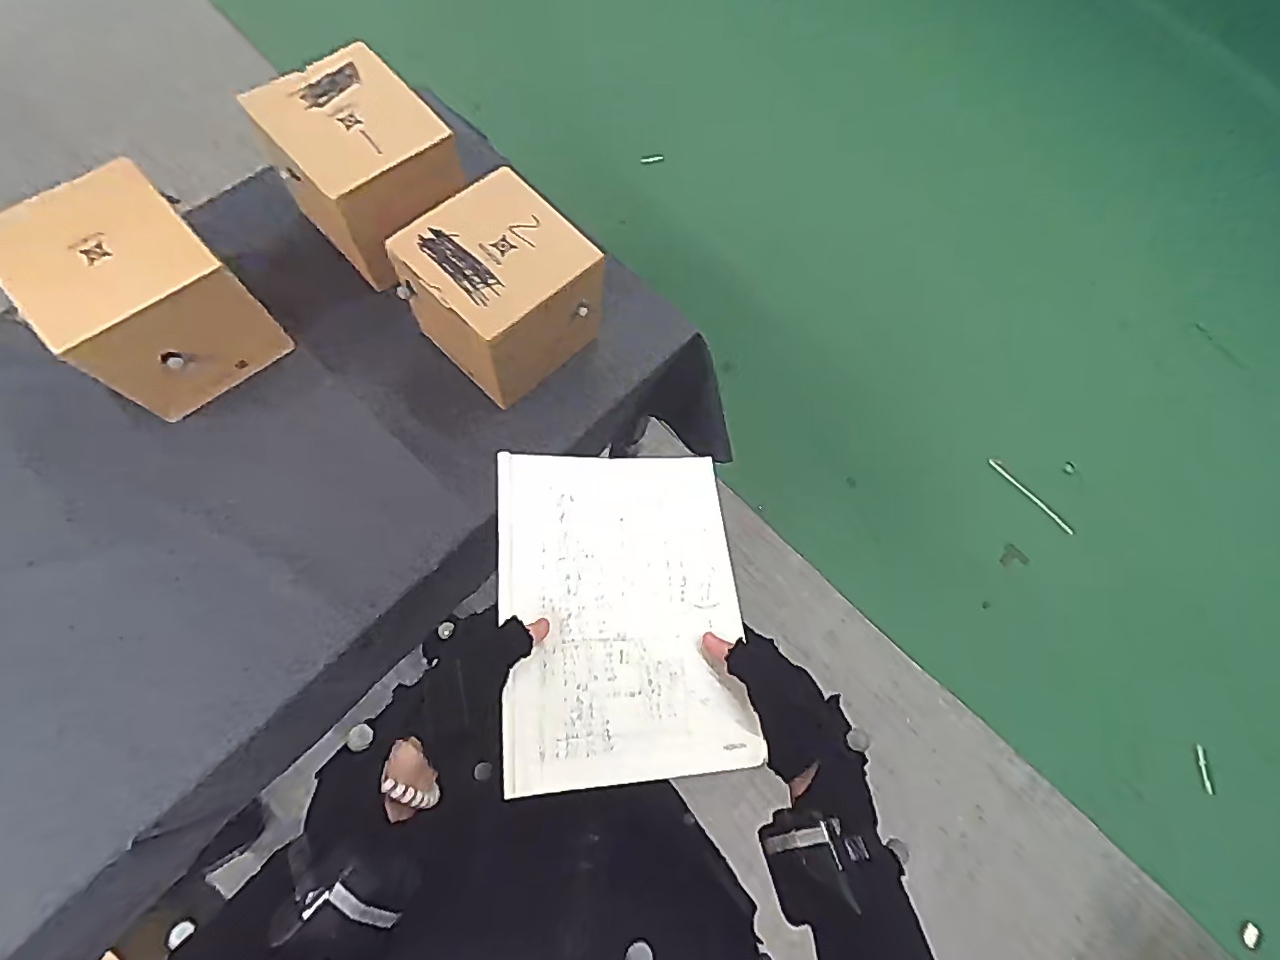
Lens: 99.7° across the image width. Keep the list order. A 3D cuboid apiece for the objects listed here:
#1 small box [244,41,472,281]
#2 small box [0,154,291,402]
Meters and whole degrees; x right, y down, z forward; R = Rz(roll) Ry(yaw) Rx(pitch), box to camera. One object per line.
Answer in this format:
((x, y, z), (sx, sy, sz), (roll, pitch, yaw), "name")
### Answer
((-0.344, -0.399, 0.698), (0.168, 0.176, 0.179), (-42, 84, -17), "small box")
((-0.548, -0.211, 0.614), (0.168, 0.176, 0.179), (-41, 82, -17), "small box")
